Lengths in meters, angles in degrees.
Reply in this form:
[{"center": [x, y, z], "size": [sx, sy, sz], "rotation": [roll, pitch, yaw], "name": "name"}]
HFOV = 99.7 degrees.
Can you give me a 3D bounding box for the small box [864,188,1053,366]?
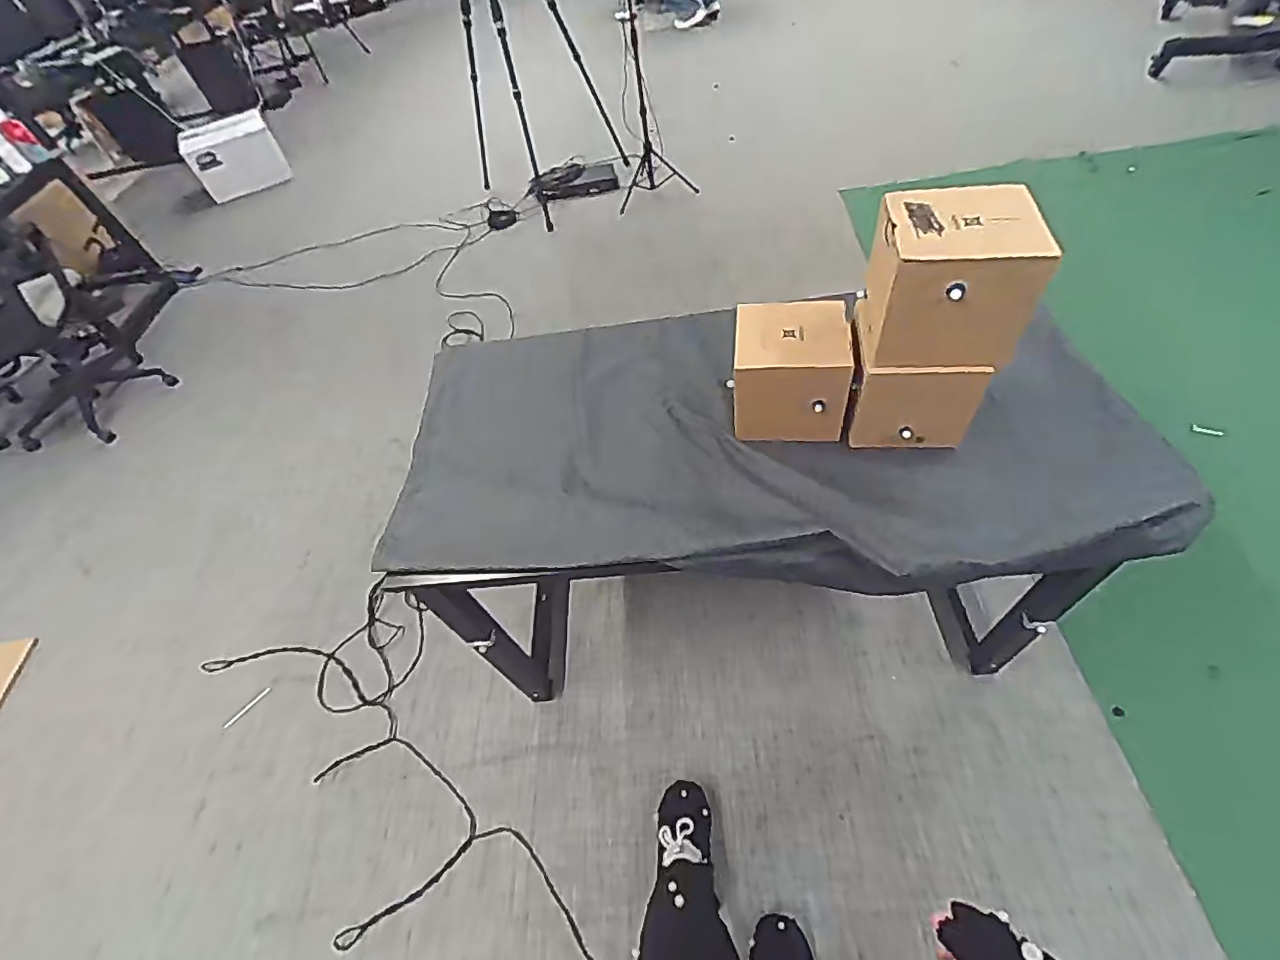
[{"center": [0.414, -0.272, 0.744], "size": [0.179, 0.176, 0.168], "rotation": [2, 55, 12], "name": "small box"}]
